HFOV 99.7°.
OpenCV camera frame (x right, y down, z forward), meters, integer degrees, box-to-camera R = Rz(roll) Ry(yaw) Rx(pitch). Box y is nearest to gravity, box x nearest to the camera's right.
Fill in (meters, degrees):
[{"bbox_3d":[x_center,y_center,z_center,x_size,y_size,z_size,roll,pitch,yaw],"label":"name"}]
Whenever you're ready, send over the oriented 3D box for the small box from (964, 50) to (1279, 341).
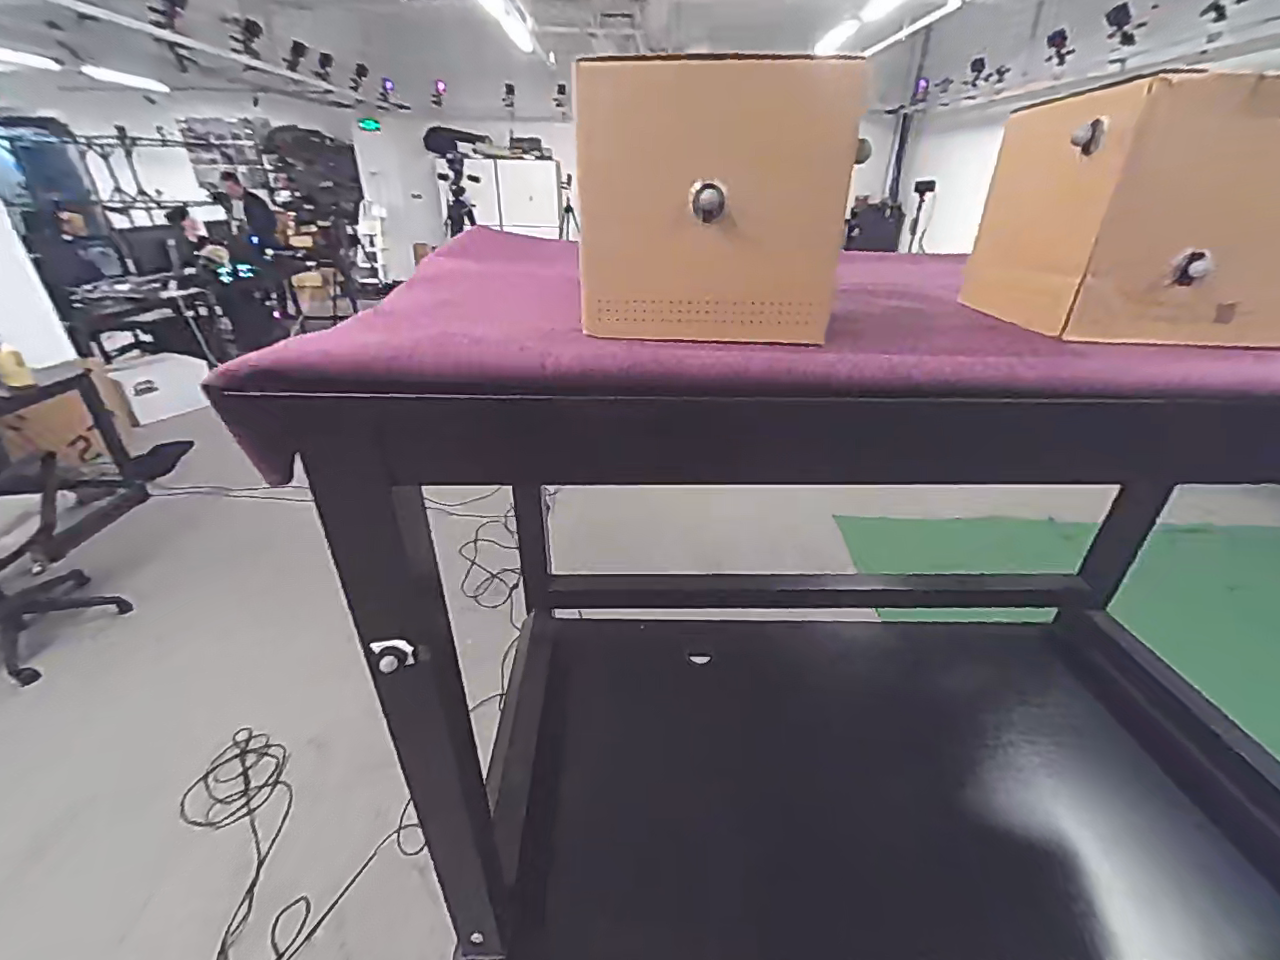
[{"bbox_3d":[0.394,-0.217,0.430,0.168,0.176,0.179,2,28,4],"label":"small box"}]
